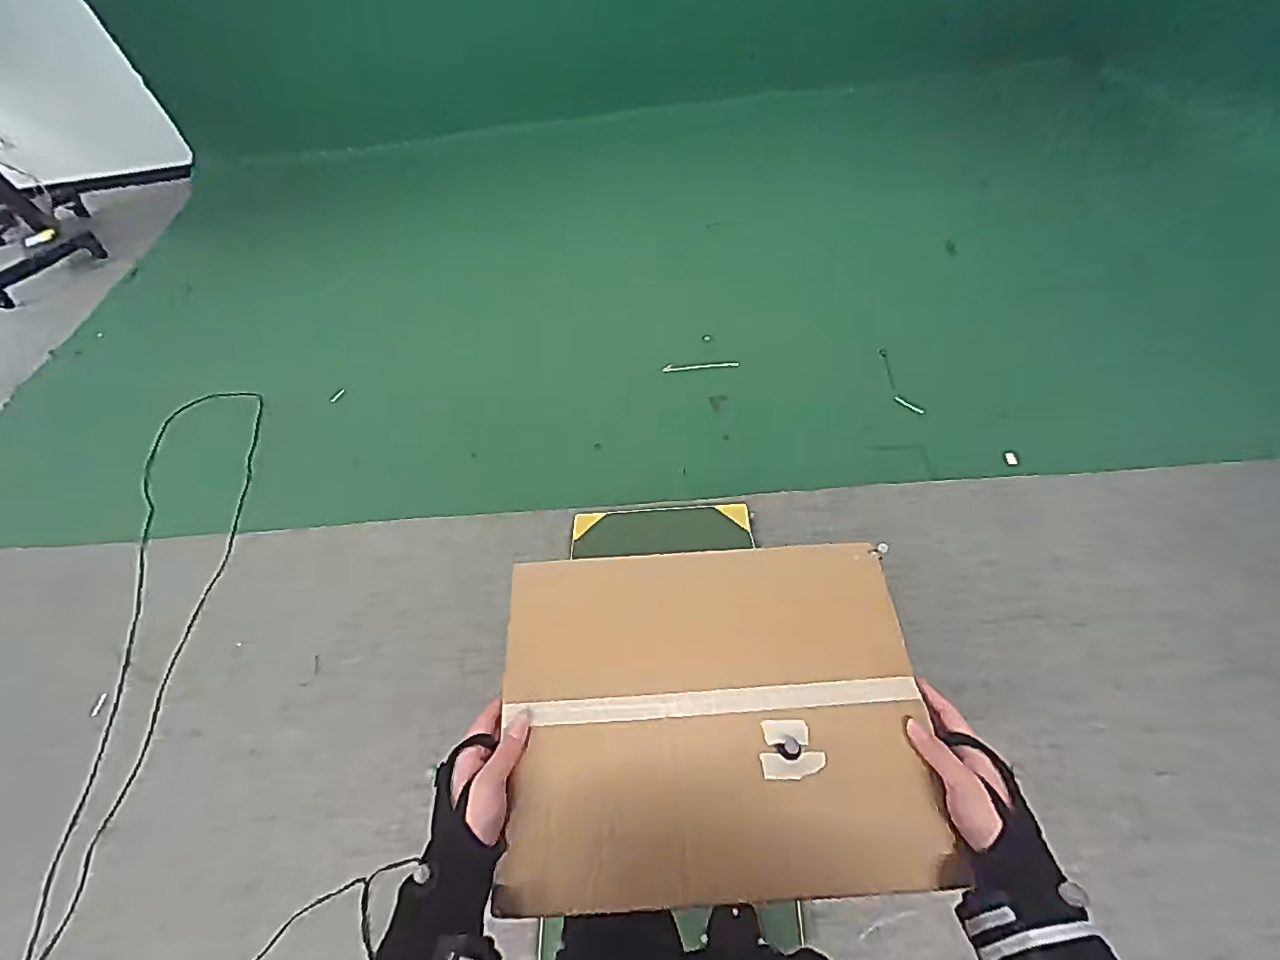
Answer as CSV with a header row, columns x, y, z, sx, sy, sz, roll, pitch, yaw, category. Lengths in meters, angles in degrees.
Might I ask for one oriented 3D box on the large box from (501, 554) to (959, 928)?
x,y,z,sx,sy,sz,roll,pitch,yaw,category
0.069,0.306,0.661,0.408,0.320,0.320,-4,60,-1,large box
